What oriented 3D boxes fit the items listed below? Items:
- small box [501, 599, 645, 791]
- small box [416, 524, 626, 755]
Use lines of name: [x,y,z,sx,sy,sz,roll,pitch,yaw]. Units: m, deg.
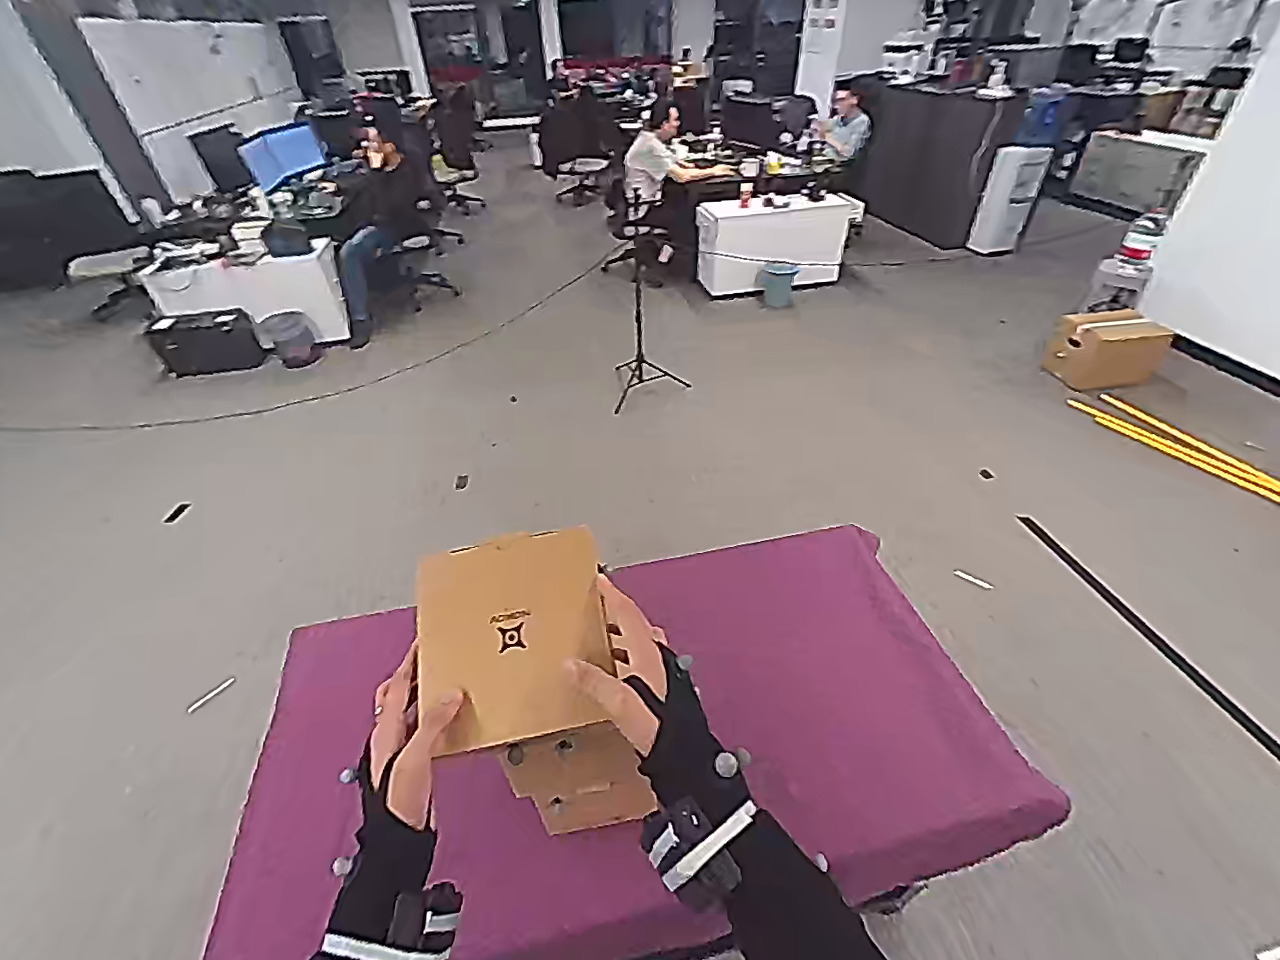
small box: [-0.092,0.284,0.712,0.179,0.176,0.168,-7,40,-5]
small box: [-0.110,0.167,0.546,0.168,0.176,0.179,-10,62,-3]
